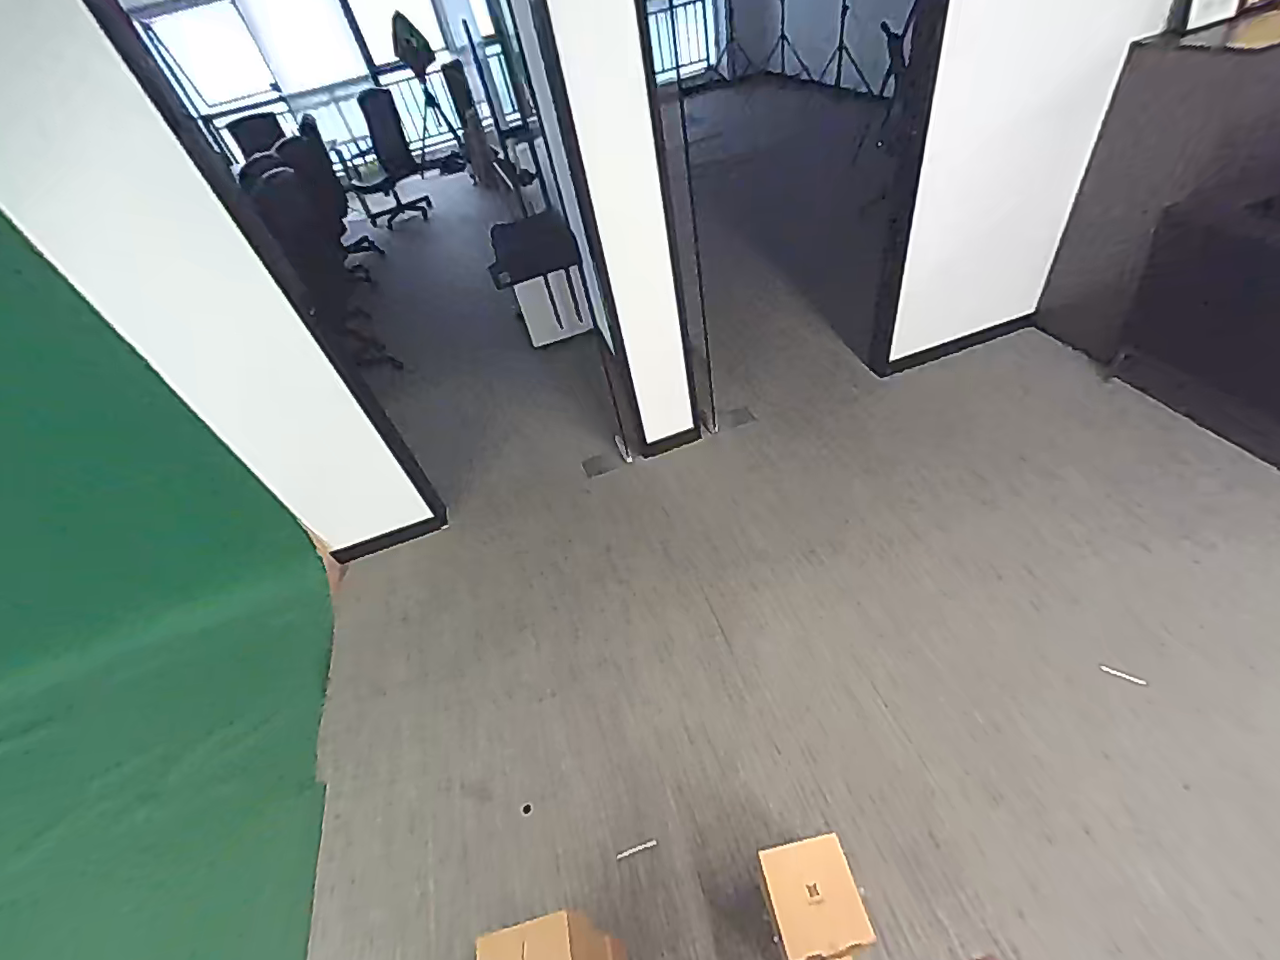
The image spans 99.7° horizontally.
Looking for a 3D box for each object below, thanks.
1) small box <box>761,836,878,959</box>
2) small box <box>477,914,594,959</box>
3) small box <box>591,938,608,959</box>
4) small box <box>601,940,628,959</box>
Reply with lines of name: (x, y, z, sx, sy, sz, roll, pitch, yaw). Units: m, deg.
small box: (0.347, 0.850, 1.082, 0.168, 0.176, 0.179, -14, 45, -1)
small box: (-0.171, 0.891, 0.936, 0.168, 0.176, 0.179, -16, 44, -2)
small box: (-0.150, 1.013, 1.045, 0.168, 0.176, 0.179, -15, 46, -1)
small box: (-0.117, 1.123, 1.161, 0.179, 0.176, 0.168, -15, 45, -1)
